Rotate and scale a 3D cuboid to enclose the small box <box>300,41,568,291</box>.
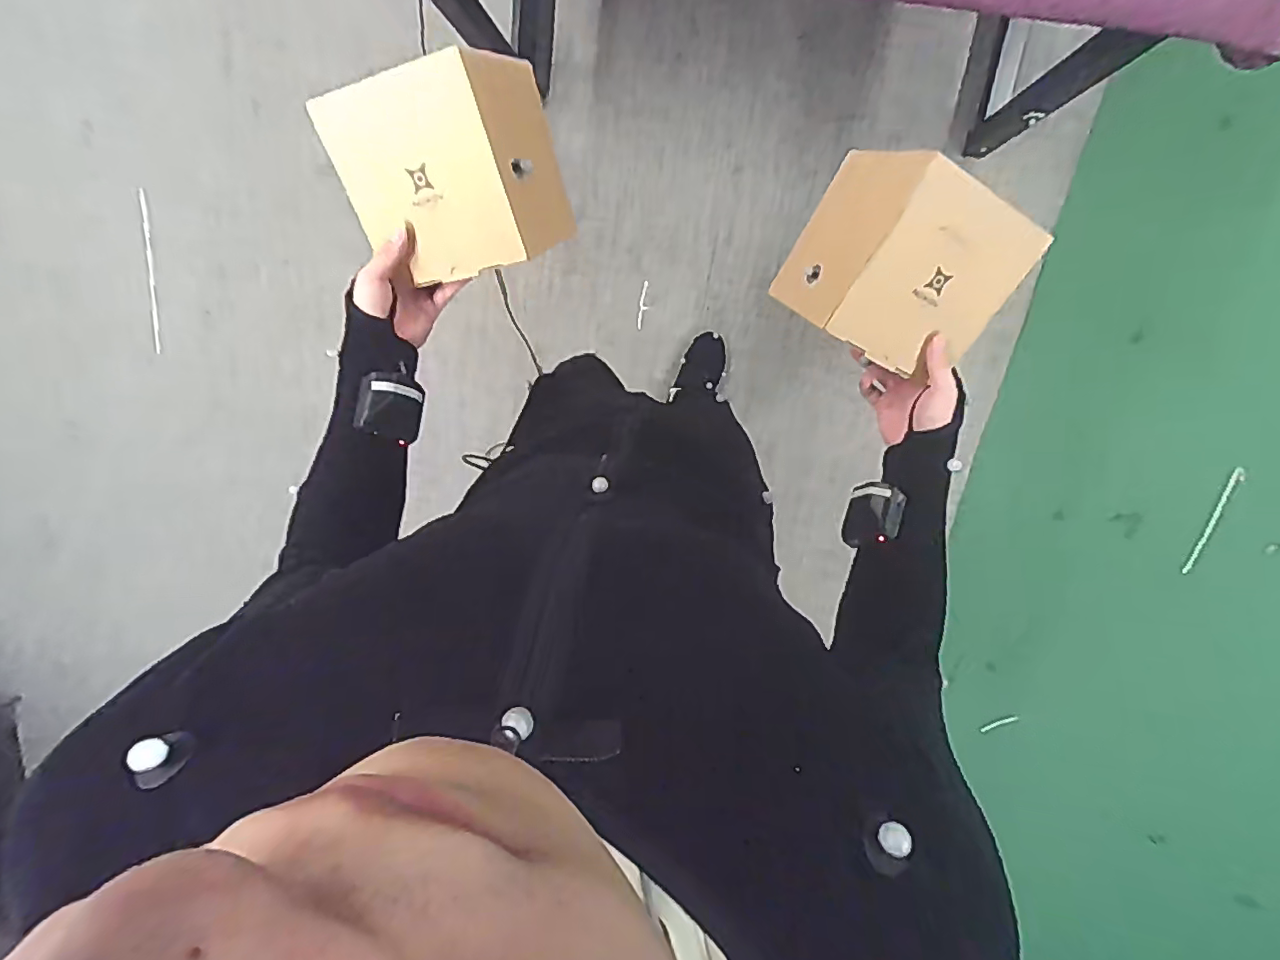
[{"bbox_3d":[-0.193,-0.319,0.566,0.168,0.176,0.179,-6,122,16],"label":"small box"}]

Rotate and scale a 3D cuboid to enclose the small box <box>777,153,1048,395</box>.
[{"bbox_3d":[0.275,-0.228,0.595,0.168,0.176,0.179,21,115,-21],"label":"small box"}]
